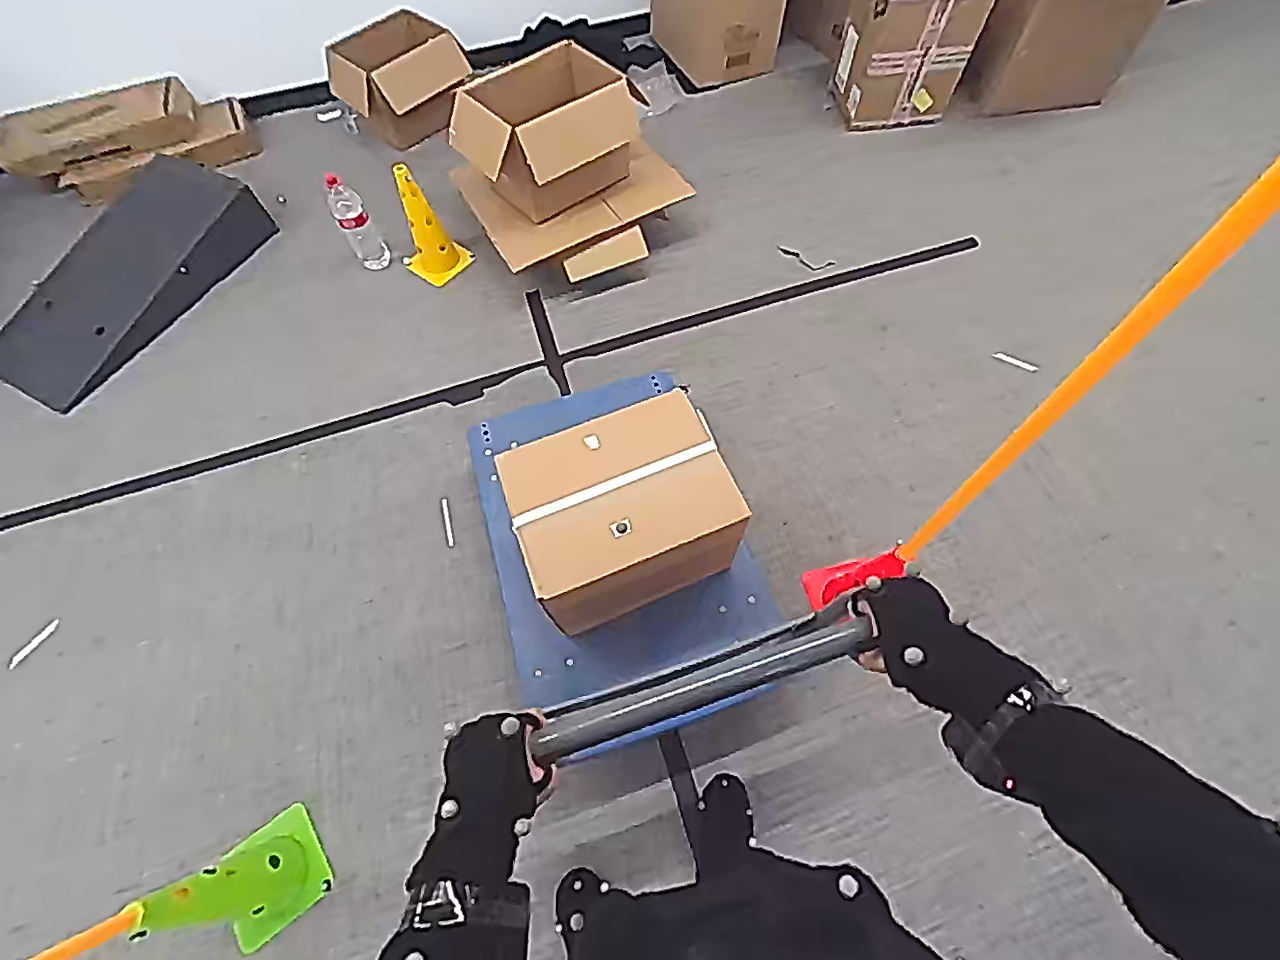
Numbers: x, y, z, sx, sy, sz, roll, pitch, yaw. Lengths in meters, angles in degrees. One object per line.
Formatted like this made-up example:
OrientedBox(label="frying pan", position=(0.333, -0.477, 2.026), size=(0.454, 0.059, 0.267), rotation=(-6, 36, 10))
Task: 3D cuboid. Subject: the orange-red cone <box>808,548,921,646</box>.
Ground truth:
OrientedBox(label="orange-red cone", position=(0.535, 0.228, 1.209), size=(0.199, 0.360, 0.198), rotation=(-11, 63, -4))
